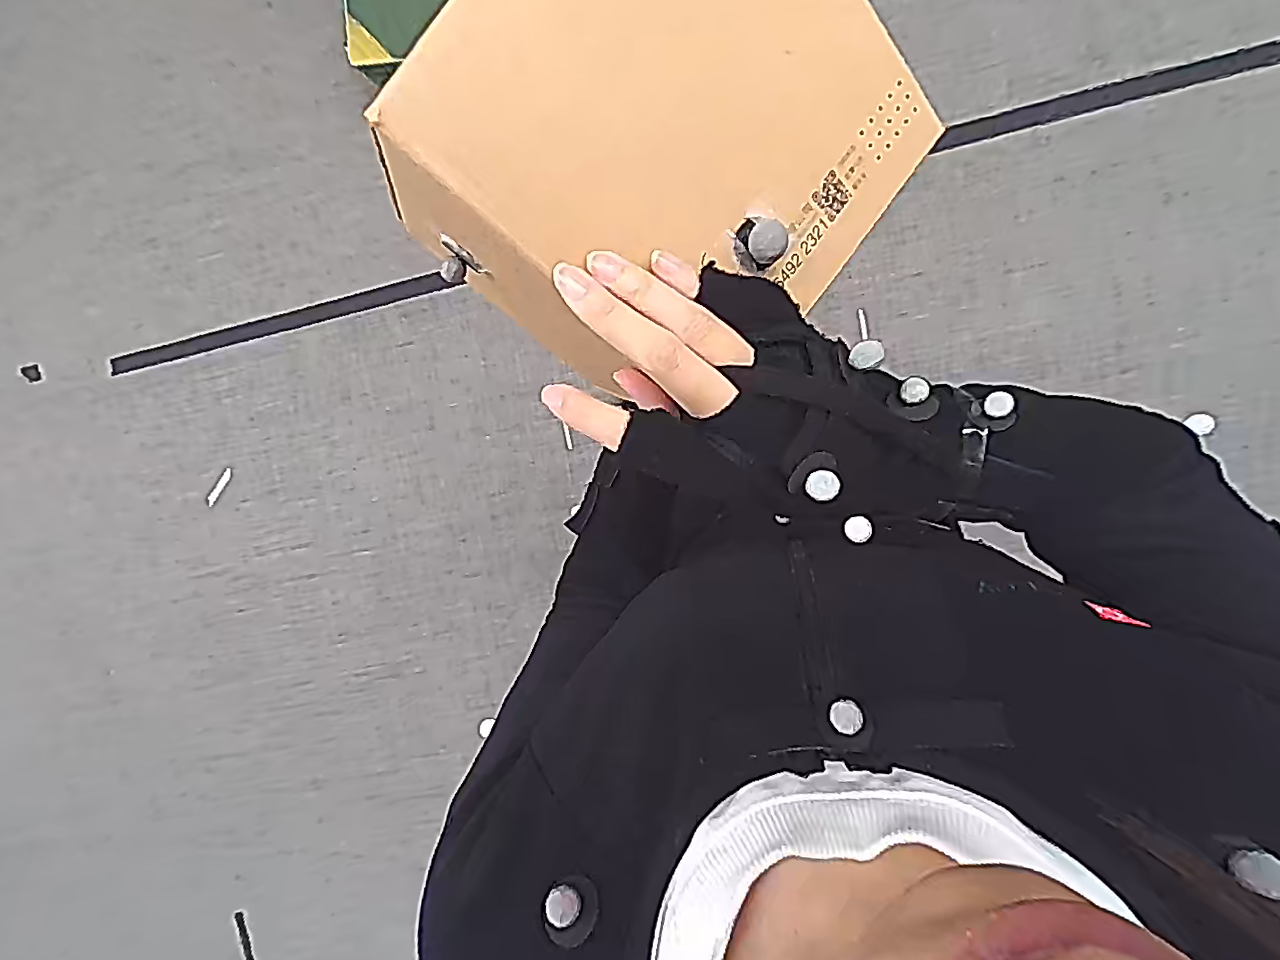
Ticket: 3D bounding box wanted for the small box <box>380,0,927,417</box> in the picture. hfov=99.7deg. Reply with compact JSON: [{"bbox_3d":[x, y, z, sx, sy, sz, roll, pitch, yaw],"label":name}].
[{"bbox_3d":[-0.002,-0.151,0.282,0.176,0.179,0.168,36,90,-25],"label":"small box"}]
